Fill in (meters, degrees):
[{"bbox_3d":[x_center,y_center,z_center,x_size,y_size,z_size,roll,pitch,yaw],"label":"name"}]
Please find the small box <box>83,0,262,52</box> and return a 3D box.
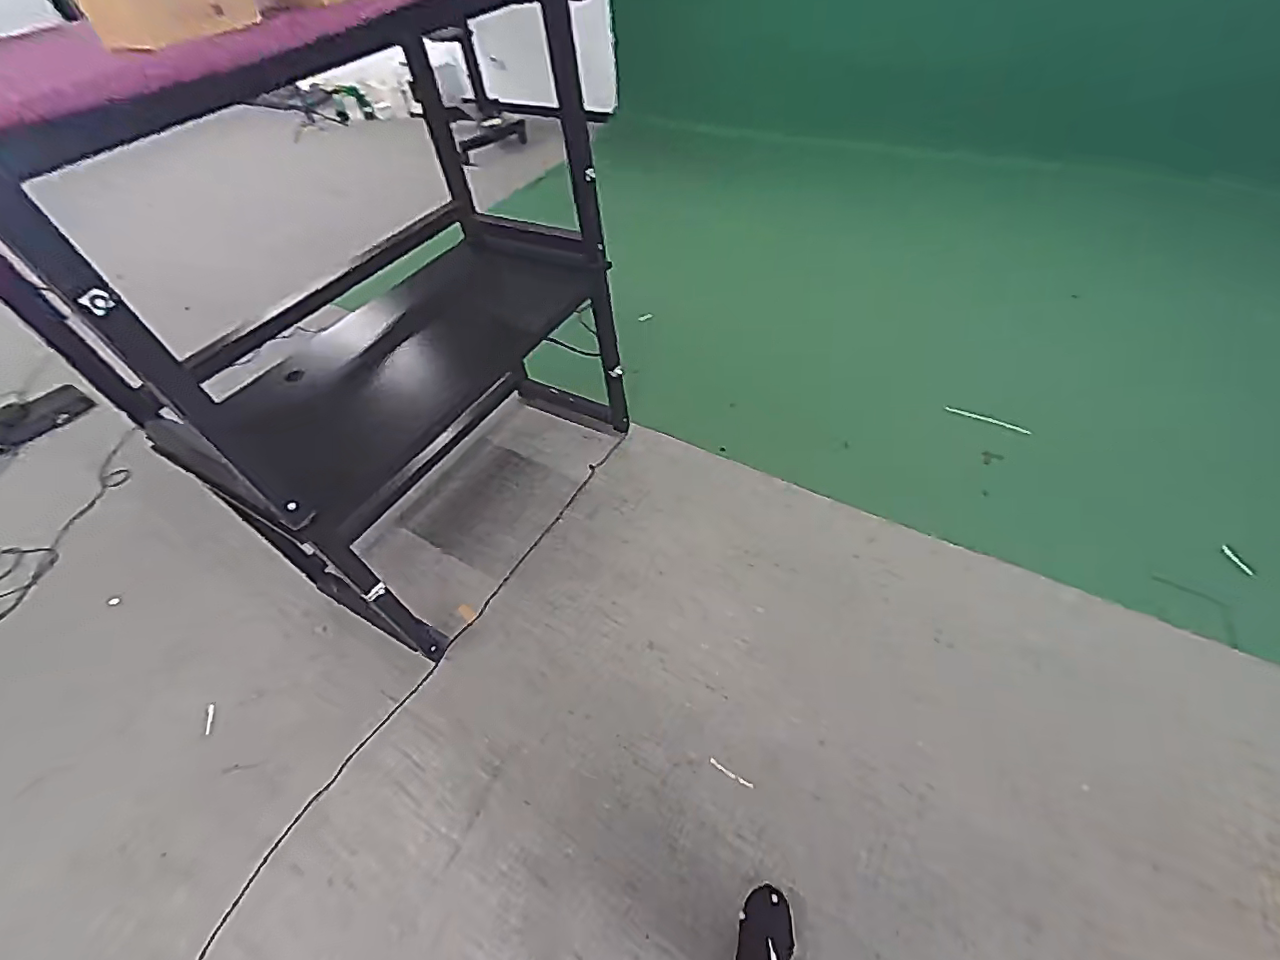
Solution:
[{"bbox_3d":[-0.695,-0.732,0.769,0.179,0.176,0.168,23,56,25],"label":"small box"}]
